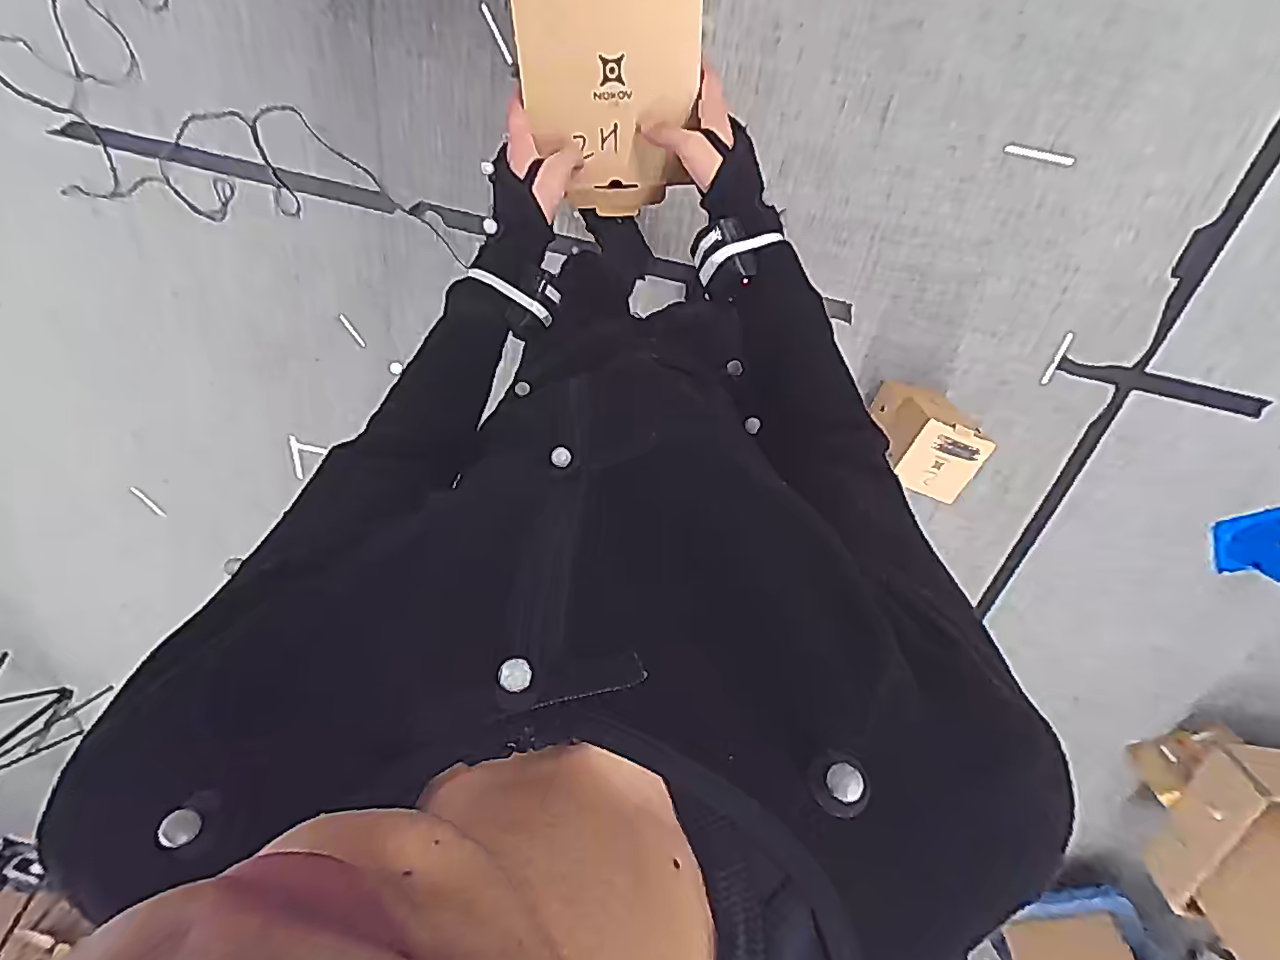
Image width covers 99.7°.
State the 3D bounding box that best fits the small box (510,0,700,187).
[{"bbox_3d":[-0.035,-0.414,0.556,0.168,0.176,0.179,-4,128,-2],"label":"small box"}]

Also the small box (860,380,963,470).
[{"bbox_3d":[0.722,-0.156,1.464,0.179,0.176,0.168,17,120,0],"label":"small box"}]
